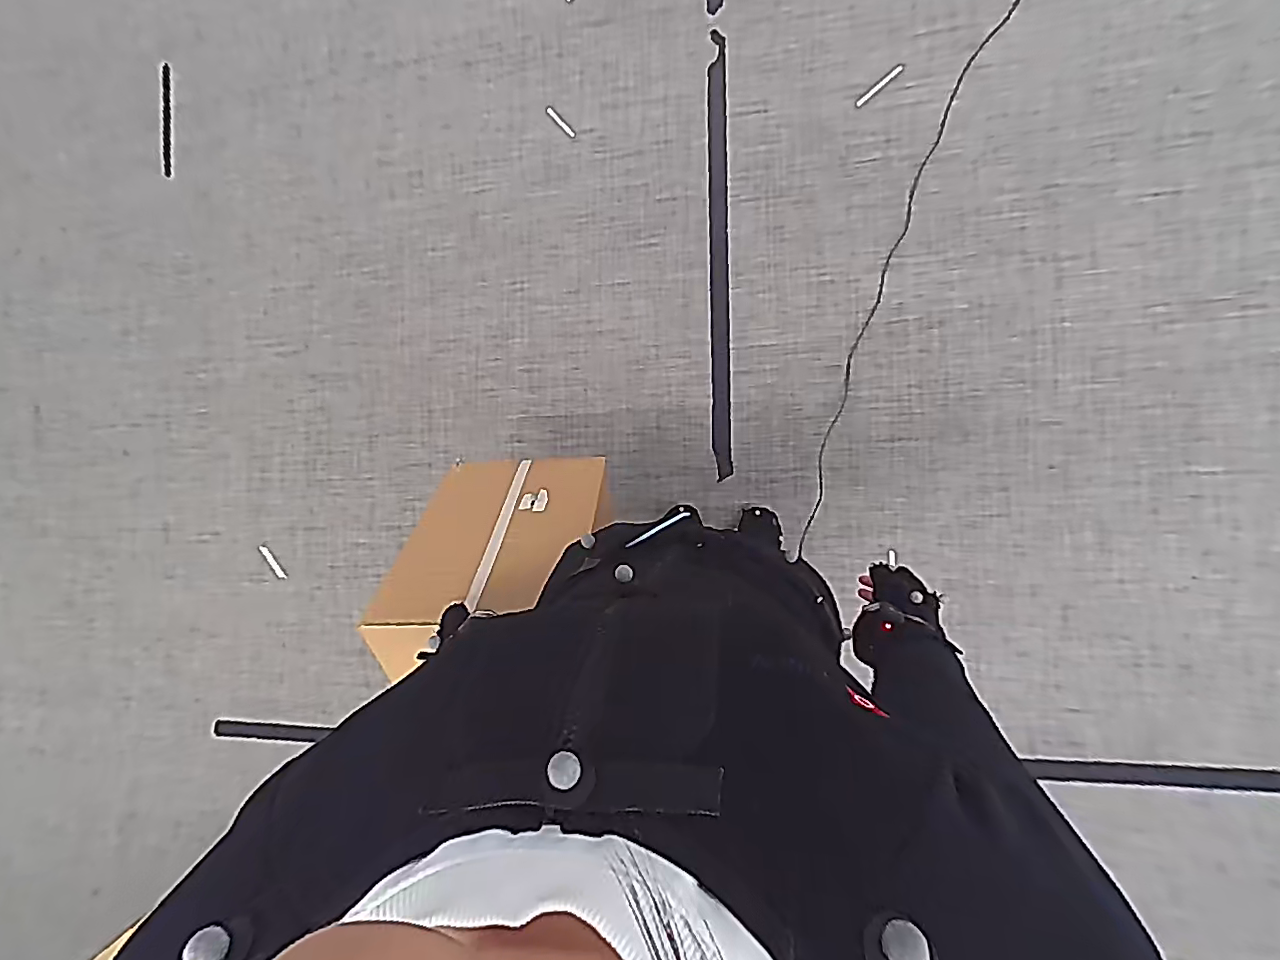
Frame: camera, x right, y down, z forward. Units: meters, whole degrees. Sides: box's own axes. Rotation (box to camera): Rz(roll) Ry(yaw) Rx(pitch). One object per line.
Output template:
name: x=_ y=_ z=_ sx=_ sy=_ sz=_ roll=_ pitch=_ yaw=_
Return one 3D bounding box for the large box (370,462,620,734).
large box: x=-0.221 y=0.209 z=1.014 sx=0.320 sy=0.408 sz=0.320 roll=-1 pitch=126 yaw=6
